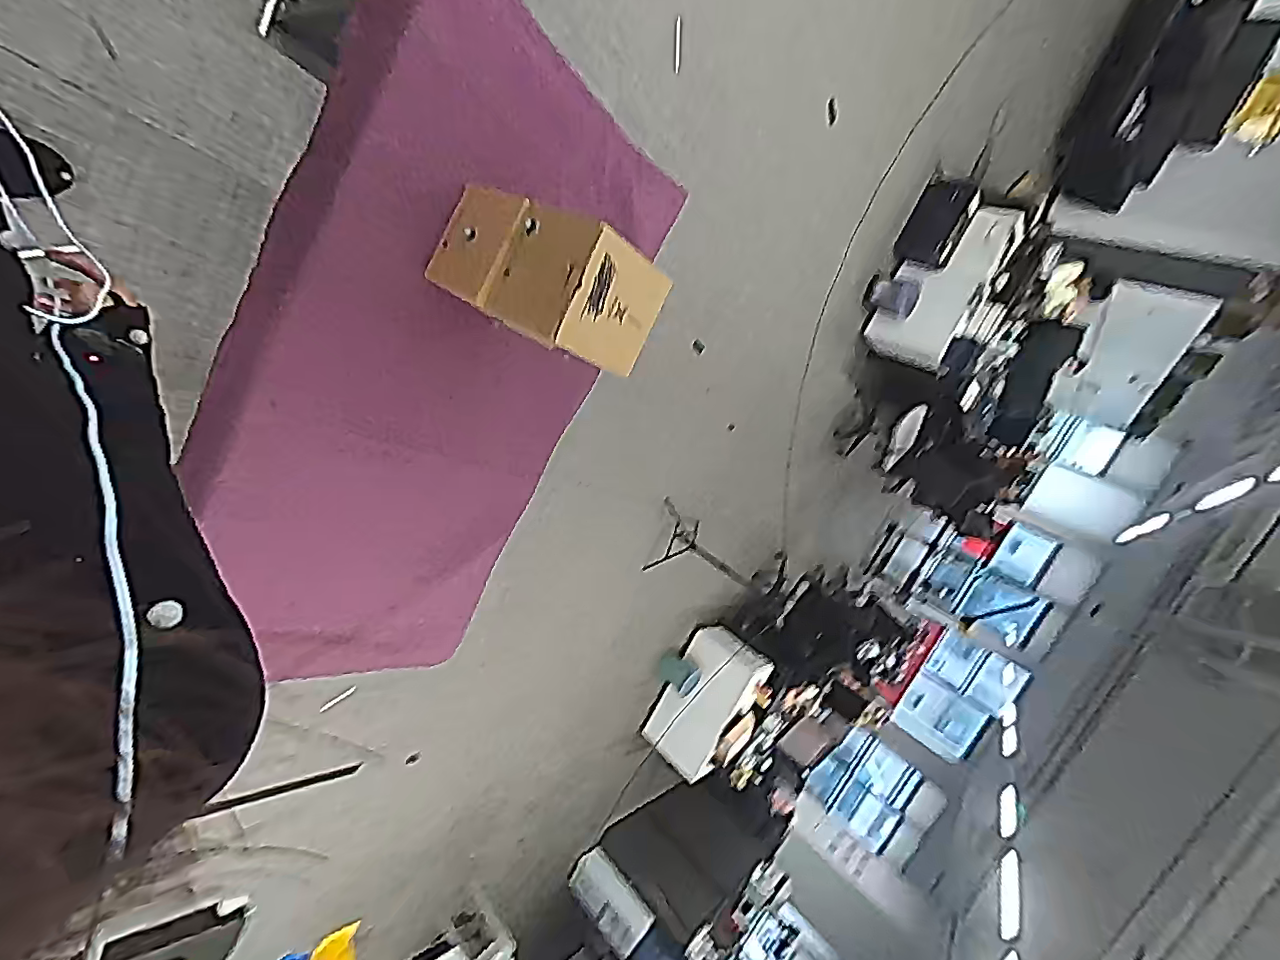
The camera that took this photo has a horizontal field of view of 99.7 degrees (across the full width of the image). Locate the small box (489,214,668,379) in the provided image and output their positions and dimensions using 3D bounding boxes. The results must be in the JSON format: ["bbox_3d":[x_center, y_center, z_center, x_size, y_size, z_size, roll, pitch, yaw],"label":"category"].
[{"bbox_3d":[-0.095,-0.278,0.820,0.179,0.176,0.168,14,105,-55],"label":"small box"}]

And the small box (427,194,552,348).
[{"bbox_3d":[-0.218,-0.350,0.903,0.179,0.176,0.168,22,99,-56],"label":"small box"}]
